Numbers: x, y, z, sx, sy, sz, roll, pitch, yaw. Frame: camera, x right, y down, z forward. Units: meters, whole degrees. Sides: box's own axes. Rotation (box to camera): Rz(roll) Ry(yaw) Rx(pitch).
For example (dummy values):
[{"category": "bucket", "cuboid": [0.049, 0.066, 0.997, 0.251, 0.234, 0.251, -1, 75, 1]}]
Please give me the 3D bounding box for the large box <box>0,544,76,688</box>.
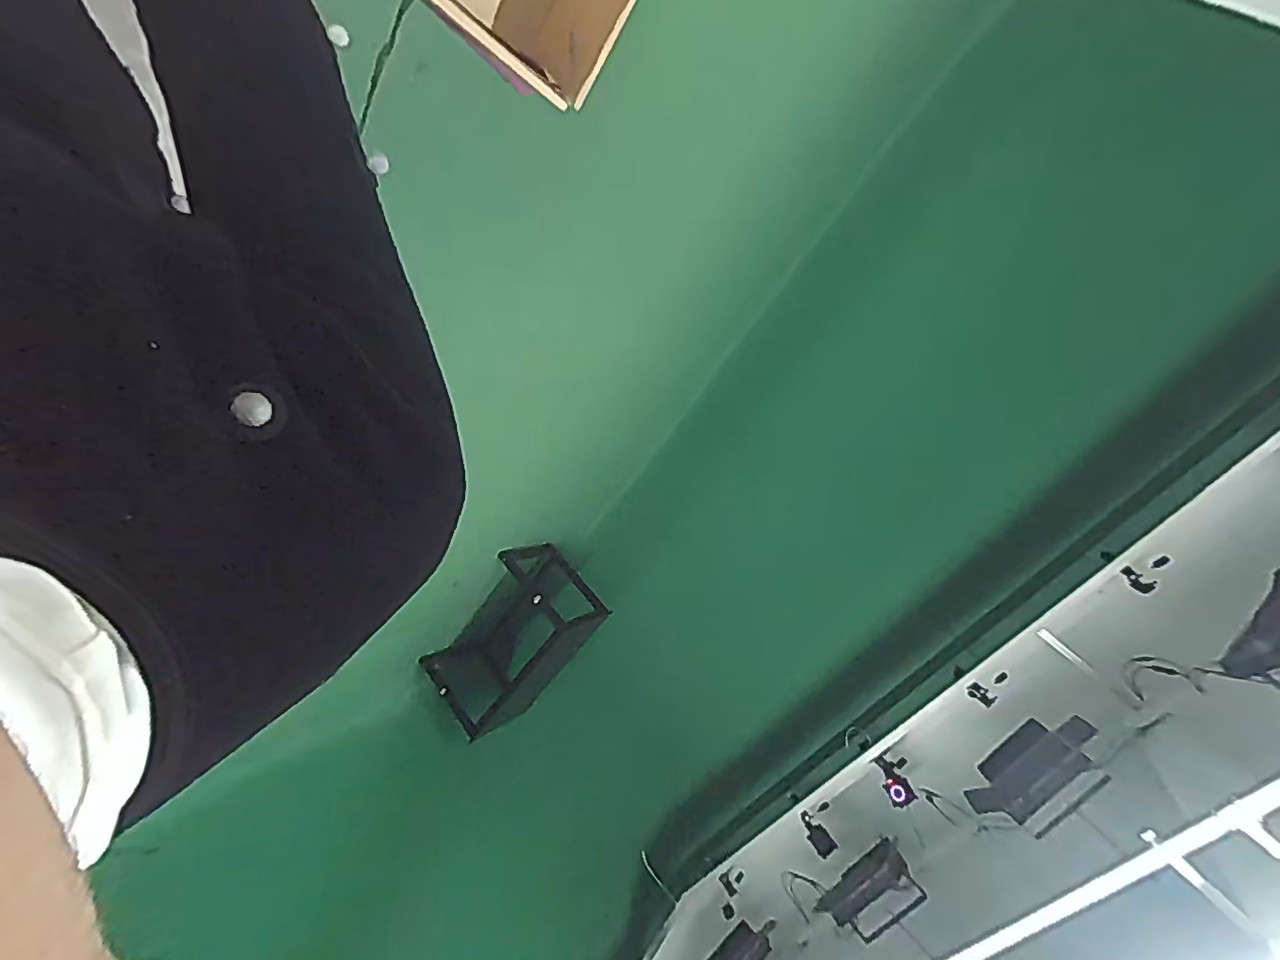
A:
[{"category": "large box", "cuboid": [-1.870, 0.403, 1.421, 0.408, 0.320, 0.320, -32, 158, -34]}]
